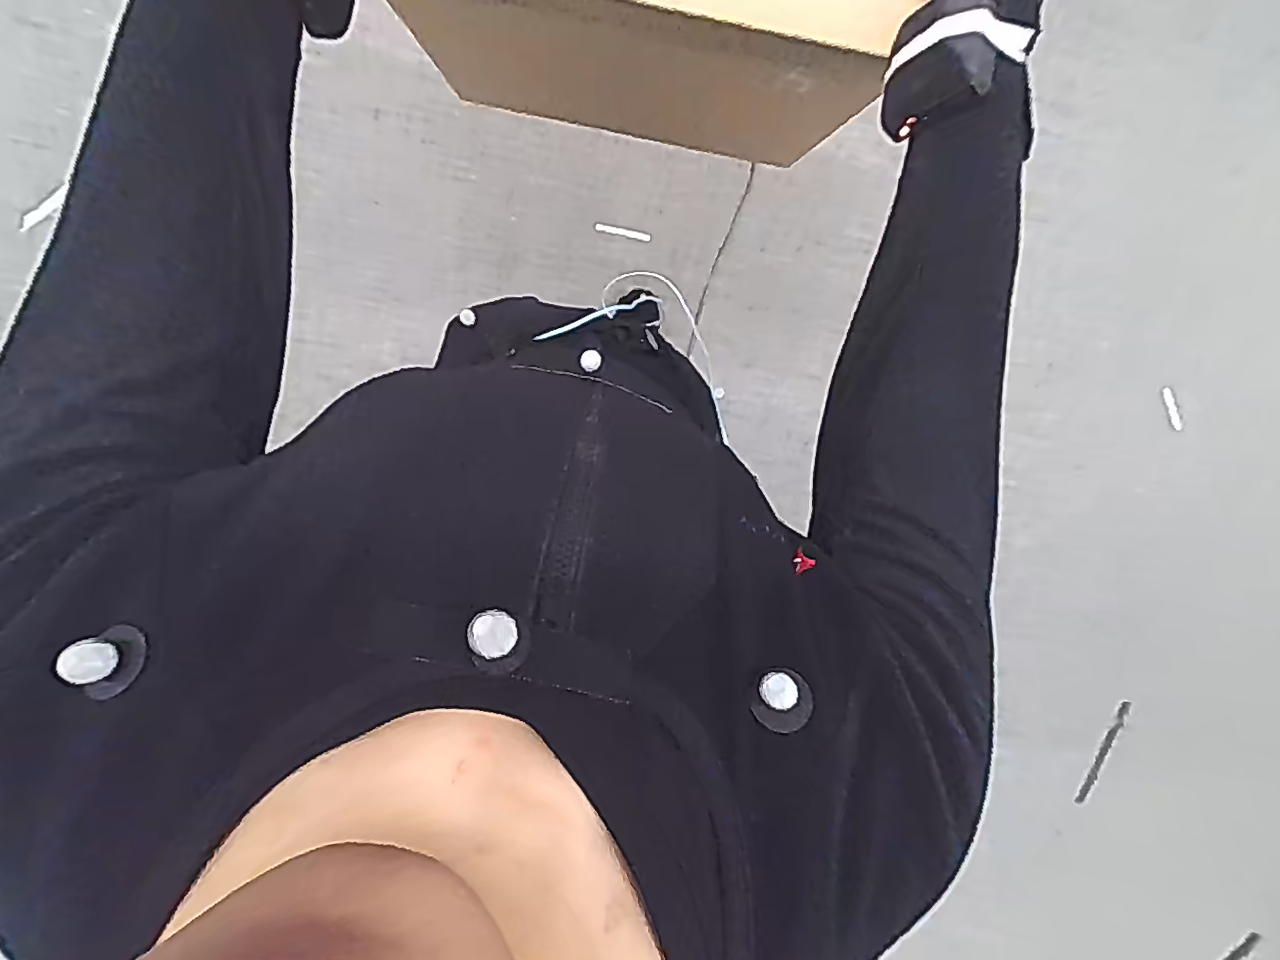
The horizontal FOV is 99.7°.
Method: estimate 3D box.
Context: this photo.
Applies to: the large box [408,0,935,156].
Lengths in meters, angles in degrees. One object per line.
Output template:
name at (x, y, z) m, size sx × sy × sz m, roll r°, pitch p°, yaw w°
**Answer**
large box at (0.022, -0.522, 0.467) m, size 0.408 × 0.320 × 0.320 m, roll 8°, pitch 109°, yaw -6°
